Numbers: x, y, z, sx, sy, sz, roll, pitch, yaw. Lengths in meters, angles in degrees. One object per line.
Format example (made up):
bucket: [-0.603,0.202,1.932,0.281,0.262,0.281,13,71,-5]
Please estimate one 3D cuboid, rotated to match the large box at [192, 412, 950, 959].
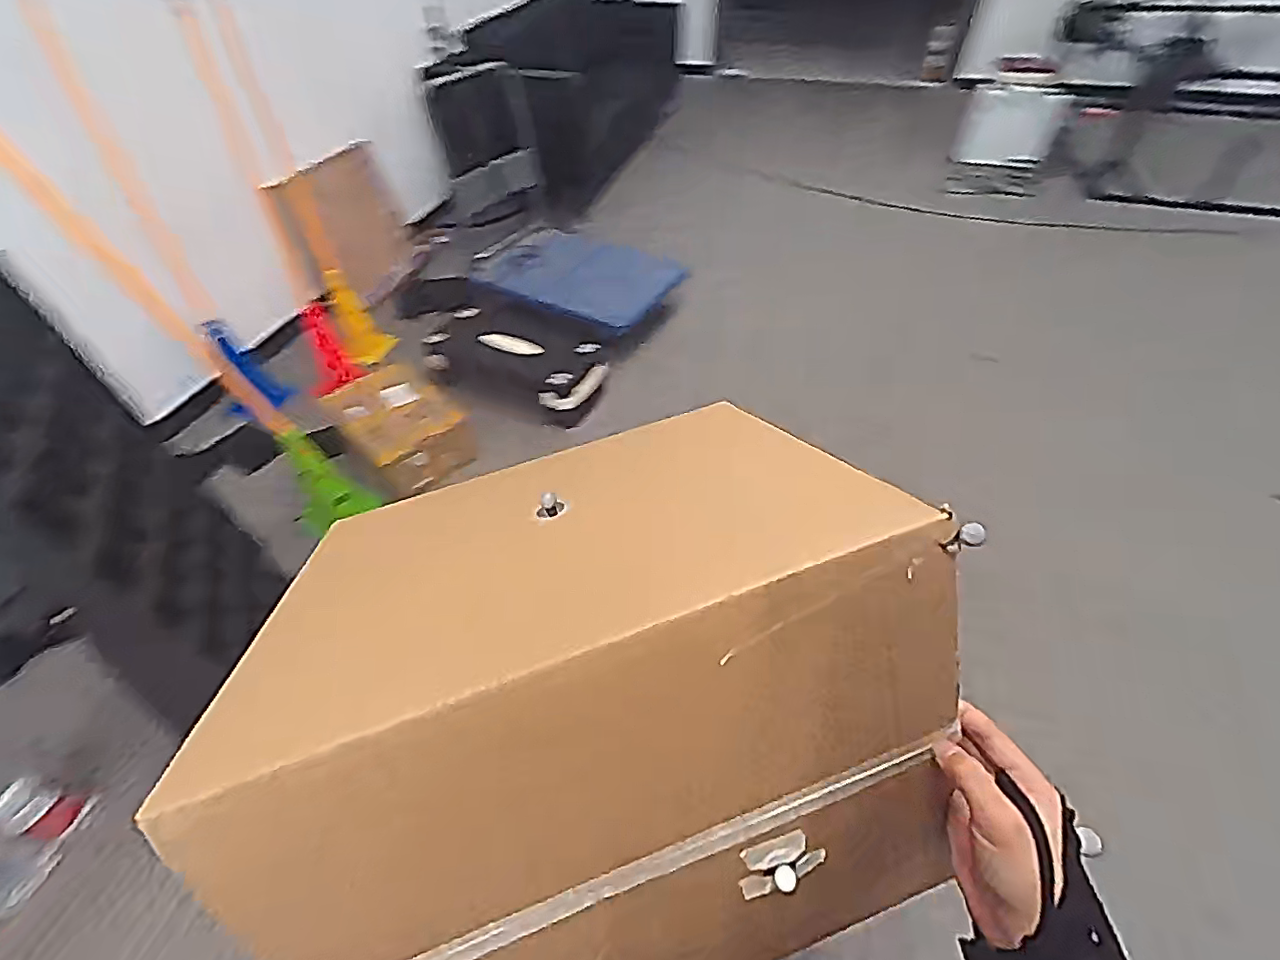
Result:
large box: [-0.023,0.170,0.465,0.408,0.320,0.320,-18,24,-7]
